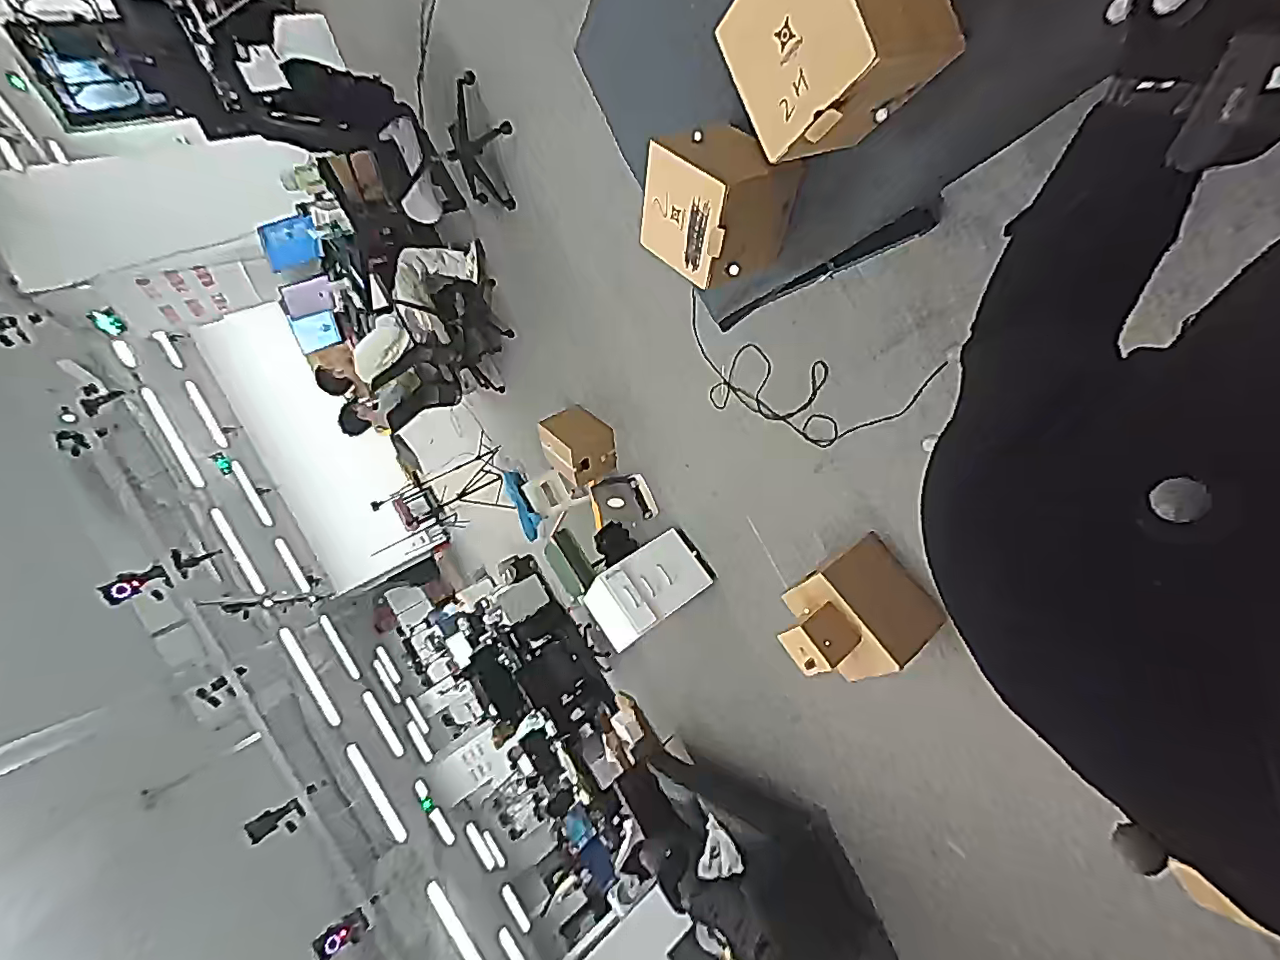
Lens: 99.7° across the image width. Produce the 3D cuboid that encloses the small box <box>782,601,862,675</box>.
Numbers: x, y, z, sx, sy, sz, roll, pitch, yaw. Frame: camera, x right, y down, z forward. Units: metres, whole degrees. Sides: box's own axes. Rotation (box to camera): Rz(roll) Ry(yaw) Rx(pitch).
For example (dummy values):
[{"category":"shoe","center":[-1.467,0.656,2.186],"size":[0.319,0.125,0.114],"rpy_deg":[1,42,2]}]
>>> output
[{"category":"small box","center":[0.649,0.562,1.922],"size":[0.179,0.176,0.168],"rpy_deg":[54,151,14]}]

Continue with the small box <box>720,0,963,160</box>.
[{"category":"small box","center":[0.232,-0.518,0.634],"size":[0.179,0.176,0.168],"rpy_deg":[64,154,-5]}]
